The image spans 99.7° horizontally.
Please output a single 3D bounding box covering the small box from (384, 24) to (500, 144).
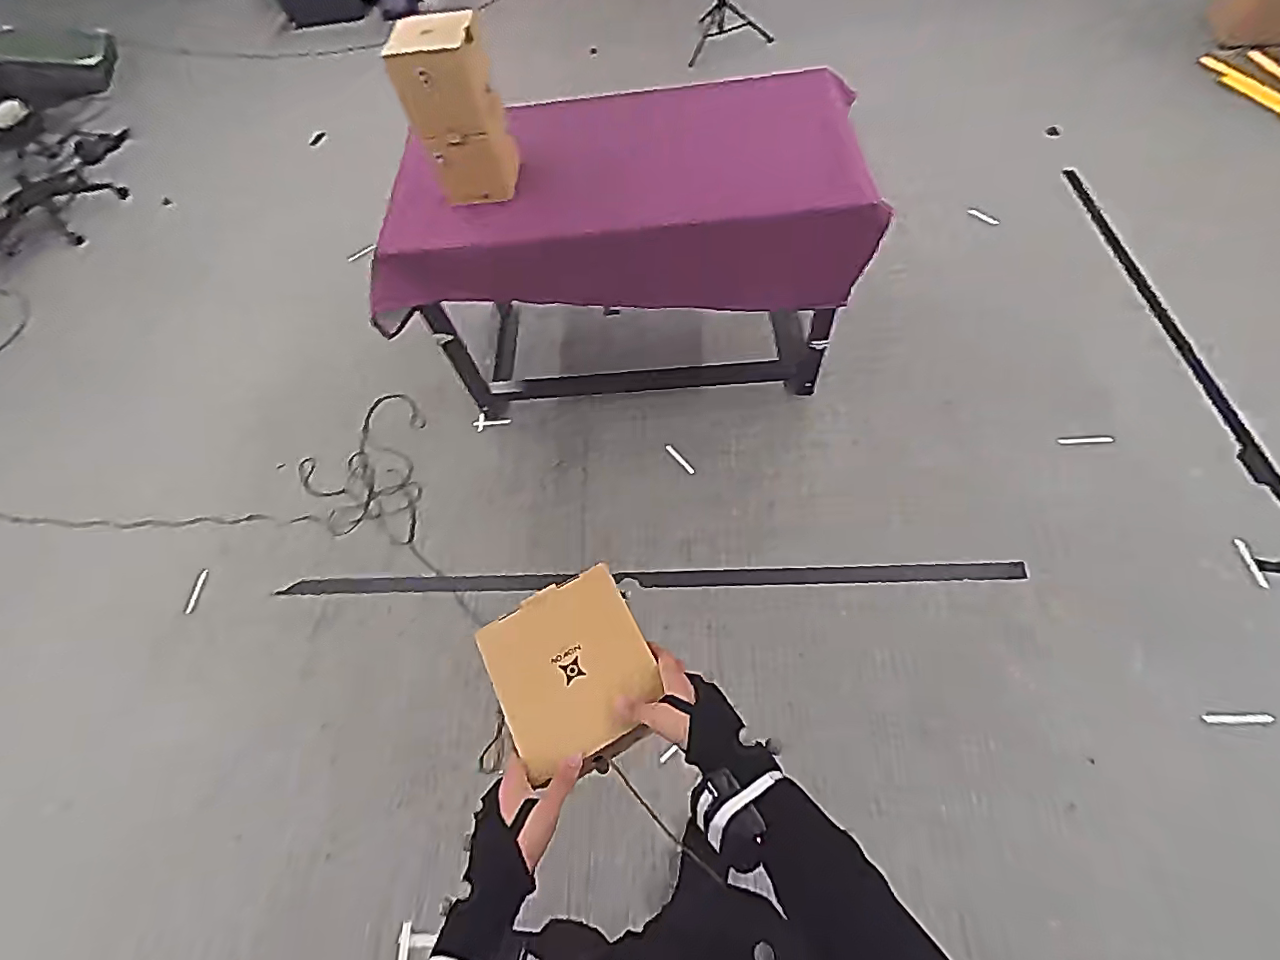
[{"bbox_3d":[-0.437,-0.886,1.221,0.179,0.176,0.168,0,61,6],"label":"small box"}]

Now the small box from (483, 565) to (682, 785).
[{"bbox_3d":[-0.058,0.235,0.648,0.168,0.176,0.179,-27,61,-9],"label":"small box"}]
